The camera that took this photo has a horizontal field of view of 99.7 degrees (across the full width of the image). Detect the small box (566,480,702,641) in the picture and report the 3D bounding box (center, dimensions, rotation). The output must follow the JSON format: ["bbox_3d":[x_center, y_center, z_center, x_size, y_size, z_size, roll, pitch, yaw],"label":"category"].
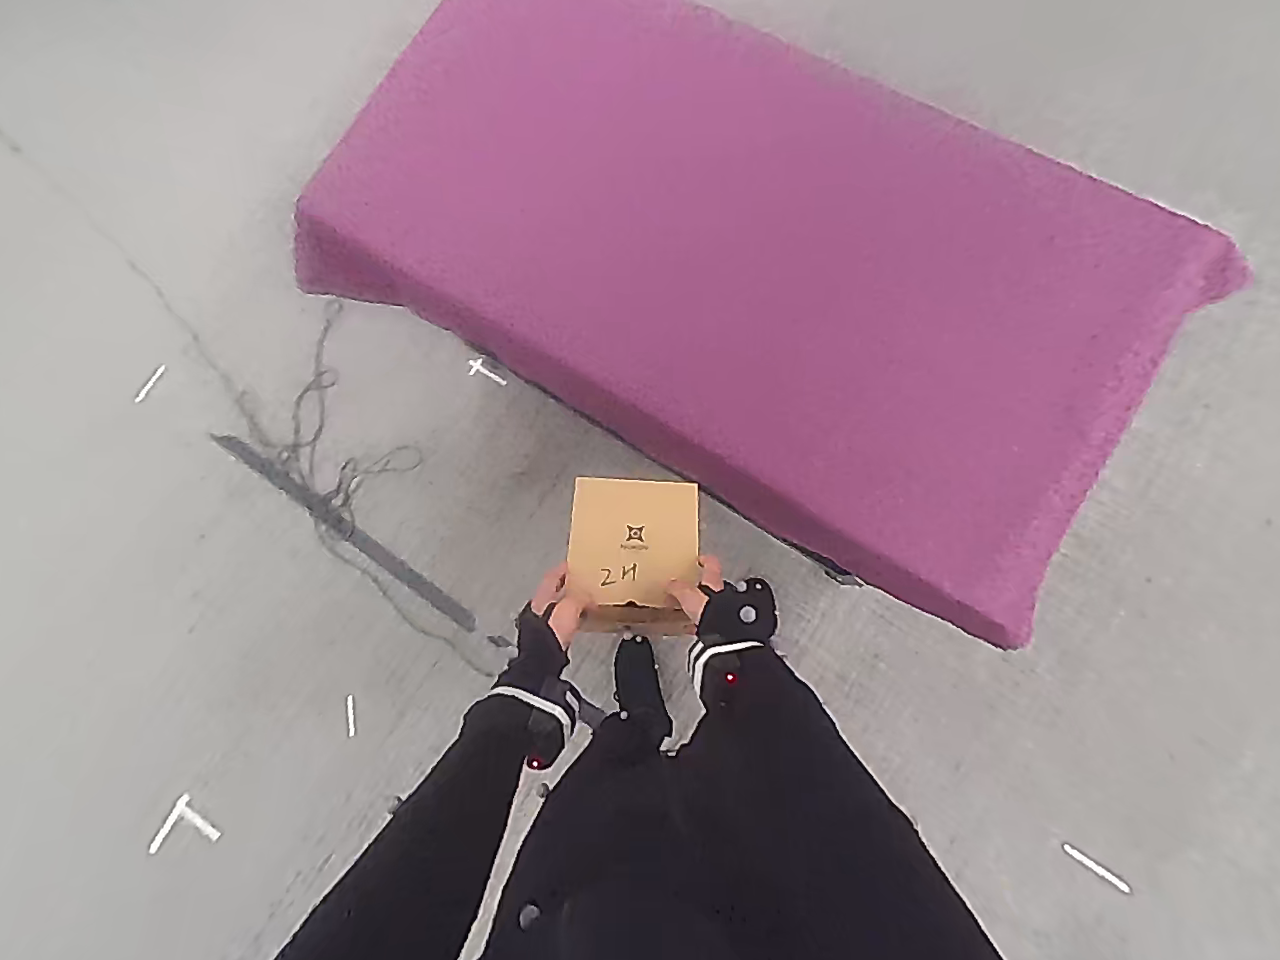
[{"bbox_3d":[-0.007,0.118,0.761,0.168,0.176,0.179,4,64,0],"label":"small box"}]
